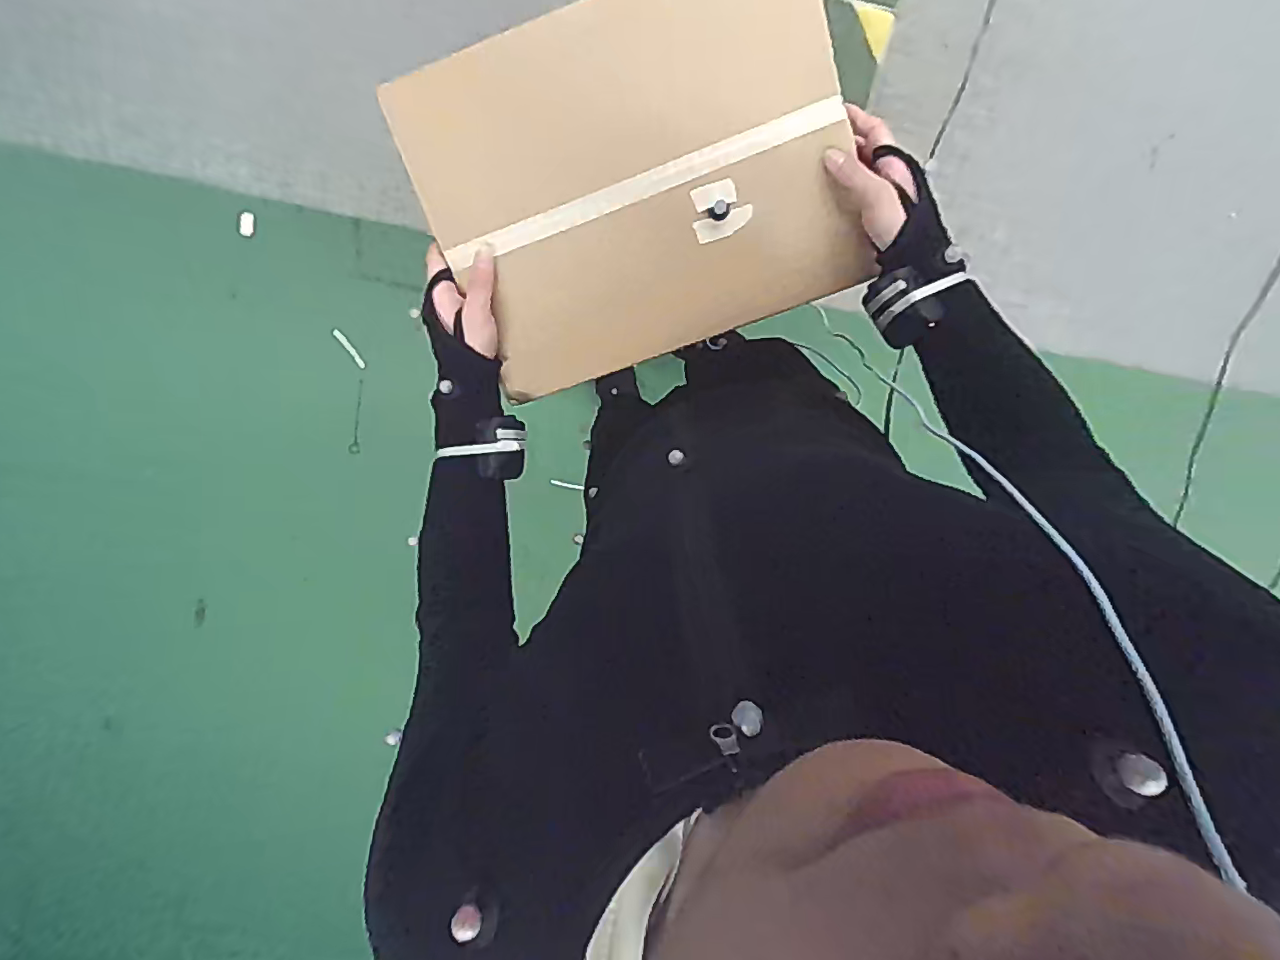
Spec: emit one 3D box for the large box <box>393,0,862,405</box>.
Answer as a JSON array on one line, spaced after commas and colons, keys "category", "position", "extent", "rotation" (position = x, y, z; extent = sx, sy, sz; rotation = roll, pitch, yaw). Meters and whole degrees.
[{"category": "large box", "position": [-0.005, -0.322, 0.679], "extent": [0.408, 0.320, 0.320], "rotation": [-18, 107, 4]}]
